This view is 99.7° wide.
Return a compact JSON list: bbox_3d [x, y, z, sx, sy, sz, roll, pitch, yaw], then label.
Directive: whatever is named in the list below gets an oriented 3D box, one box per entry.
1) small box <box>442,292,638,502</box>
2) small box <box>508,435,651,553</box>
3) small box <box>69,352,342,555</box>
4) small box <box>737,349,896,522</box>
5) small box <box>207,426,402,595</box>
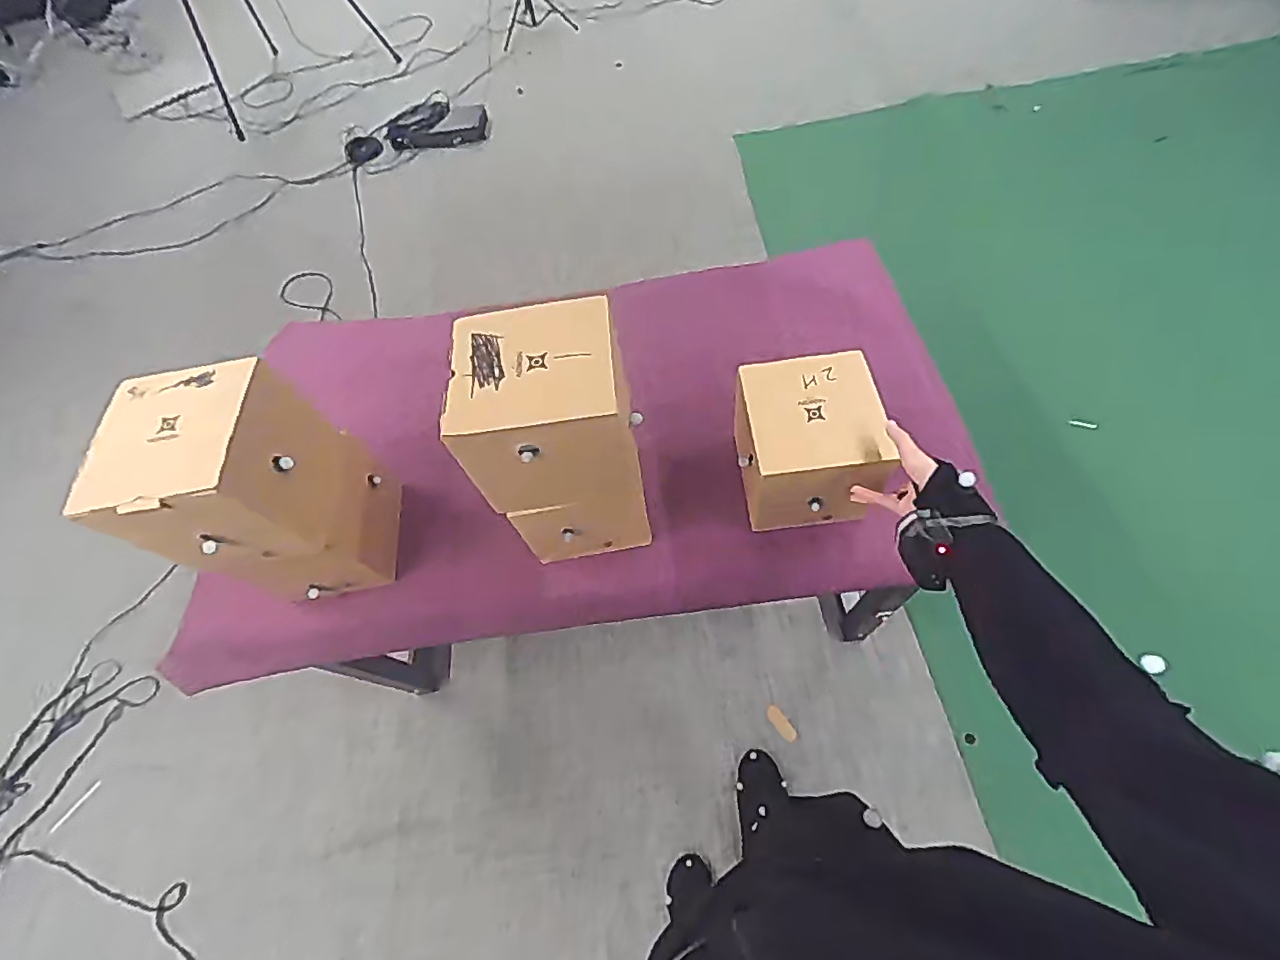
[{"bbox_3d":[-0.103,-0.086,0.627,0.179,0.176,0.168,-7,59,3],"label":"small box"},{"bbox_3d":[-0.083,-0.007,0.770,0.168,0.176,0.179,-11,59,2],"label":"small box"},{"bbox_3d":[-0.484,-0.020,0.639,0.168,0.176,0.179,-9,61,3],"label":"small box"},{"bbox_3d":[0.229,-0.052,0.750,0.168,0.176,0.179,-6,60,4],"label":"small box"},{"bbox_3d":[-0.468,0.050,0.787,0.168,0.176,0.179,-10,61,2],"label":"small box"}]
